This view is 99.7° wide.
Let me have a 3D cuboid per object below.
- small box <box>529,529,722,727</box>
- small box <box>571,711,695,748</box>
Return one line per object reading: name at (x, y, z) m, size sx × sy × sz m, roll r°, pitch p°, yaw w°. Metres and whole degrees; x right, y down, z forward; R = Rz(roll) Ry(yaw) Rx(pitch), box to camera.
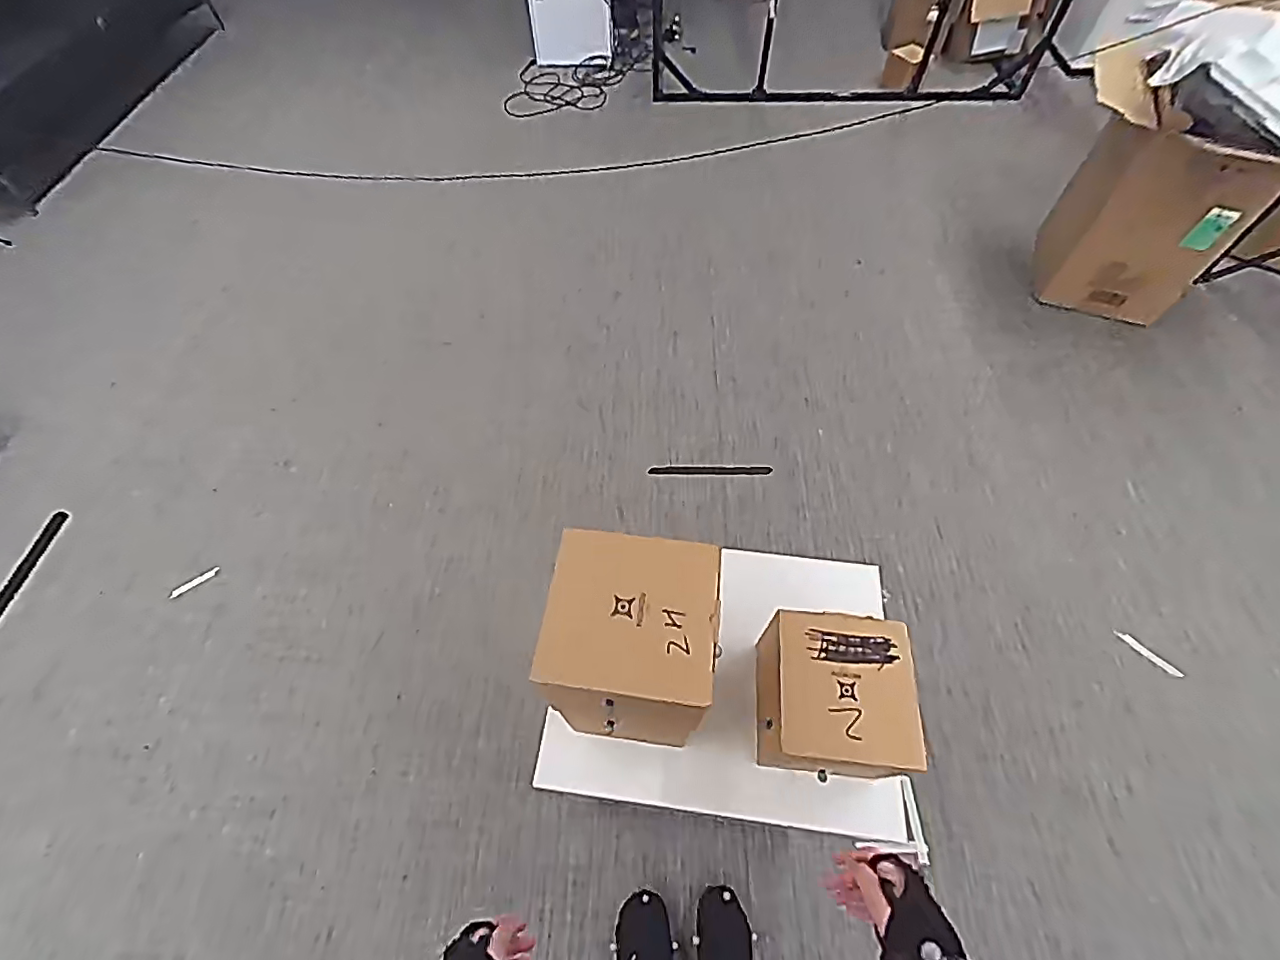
small box at (-0.008, 0.173, 0.611) m, size 0.179 × 0.176 × 0.168 m, roll 7°, pitch 59°, yaw 4°
small box at (-0.004, 0.256, 0.753) m, size 0.168 × 0.176 × 0.179 m, roll 7°, pitch 57°, yaw 5°
